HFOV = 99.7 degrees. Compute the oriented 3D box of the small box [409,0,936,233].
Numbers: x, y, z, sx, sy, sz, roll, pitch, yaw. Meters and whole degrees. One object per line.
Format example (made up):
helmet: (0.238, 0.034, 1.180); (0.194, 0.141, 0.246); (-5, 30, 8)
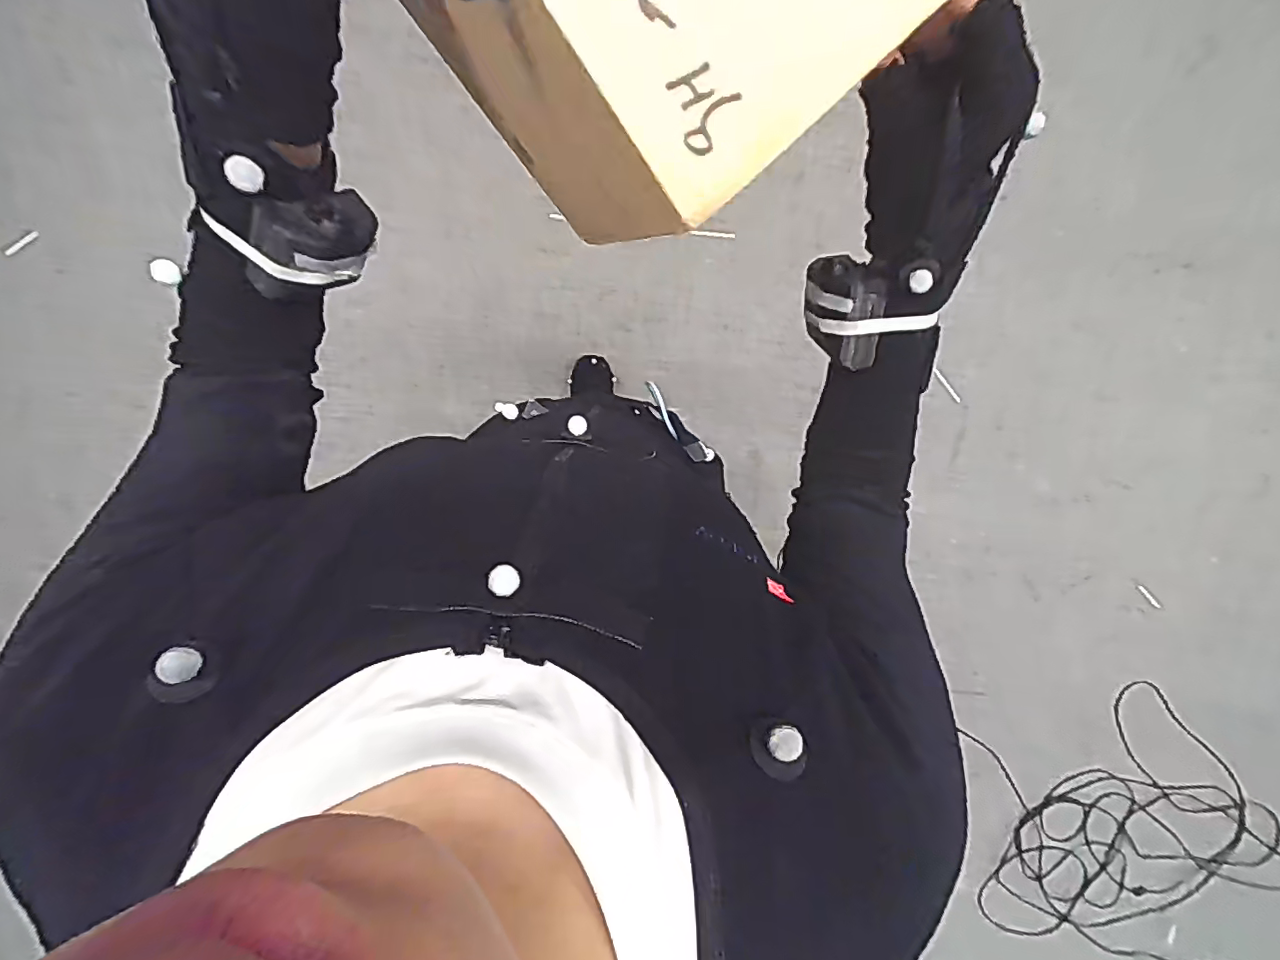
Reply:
small box: (0.011, -0.236, 0.235); (0.179, 0.176, 0.168); (-43, 117, 0)
